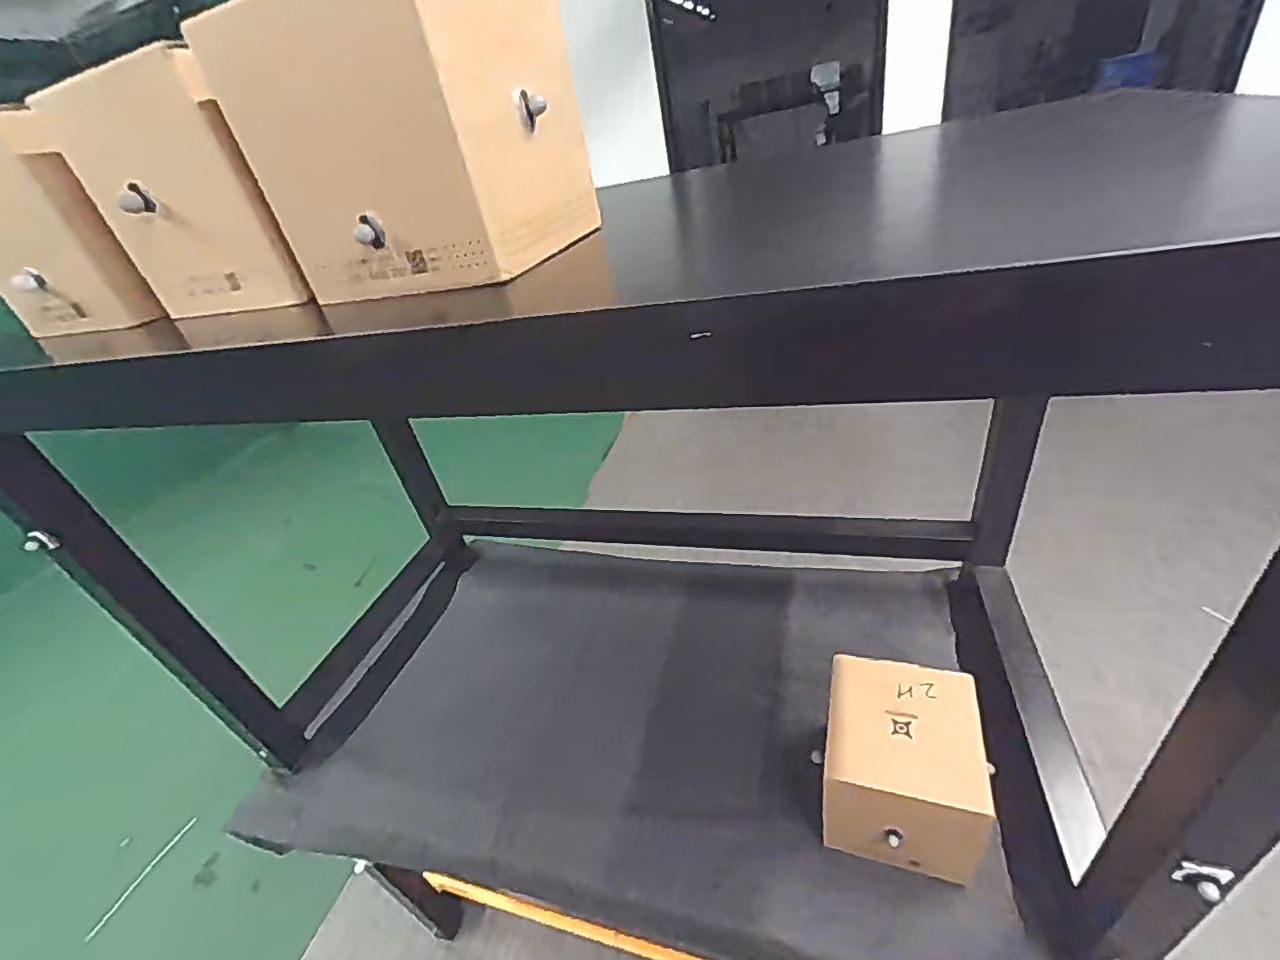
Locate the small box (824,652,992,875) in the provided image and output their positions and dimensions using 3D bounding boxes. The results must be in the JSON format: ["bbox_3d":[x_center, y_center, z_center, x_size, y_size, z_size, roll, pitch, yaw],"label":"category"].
[{"bbox_3d":[0.327,0.352,0.683,0.168,0.176,0.179,3,36,22],"label":"small box"}]

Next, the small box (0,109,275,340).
[{"bbox_3d":[-0.511,-0.251,0.539,0.168,0.176,0.179,2,36,21],"label":"small box"}]
